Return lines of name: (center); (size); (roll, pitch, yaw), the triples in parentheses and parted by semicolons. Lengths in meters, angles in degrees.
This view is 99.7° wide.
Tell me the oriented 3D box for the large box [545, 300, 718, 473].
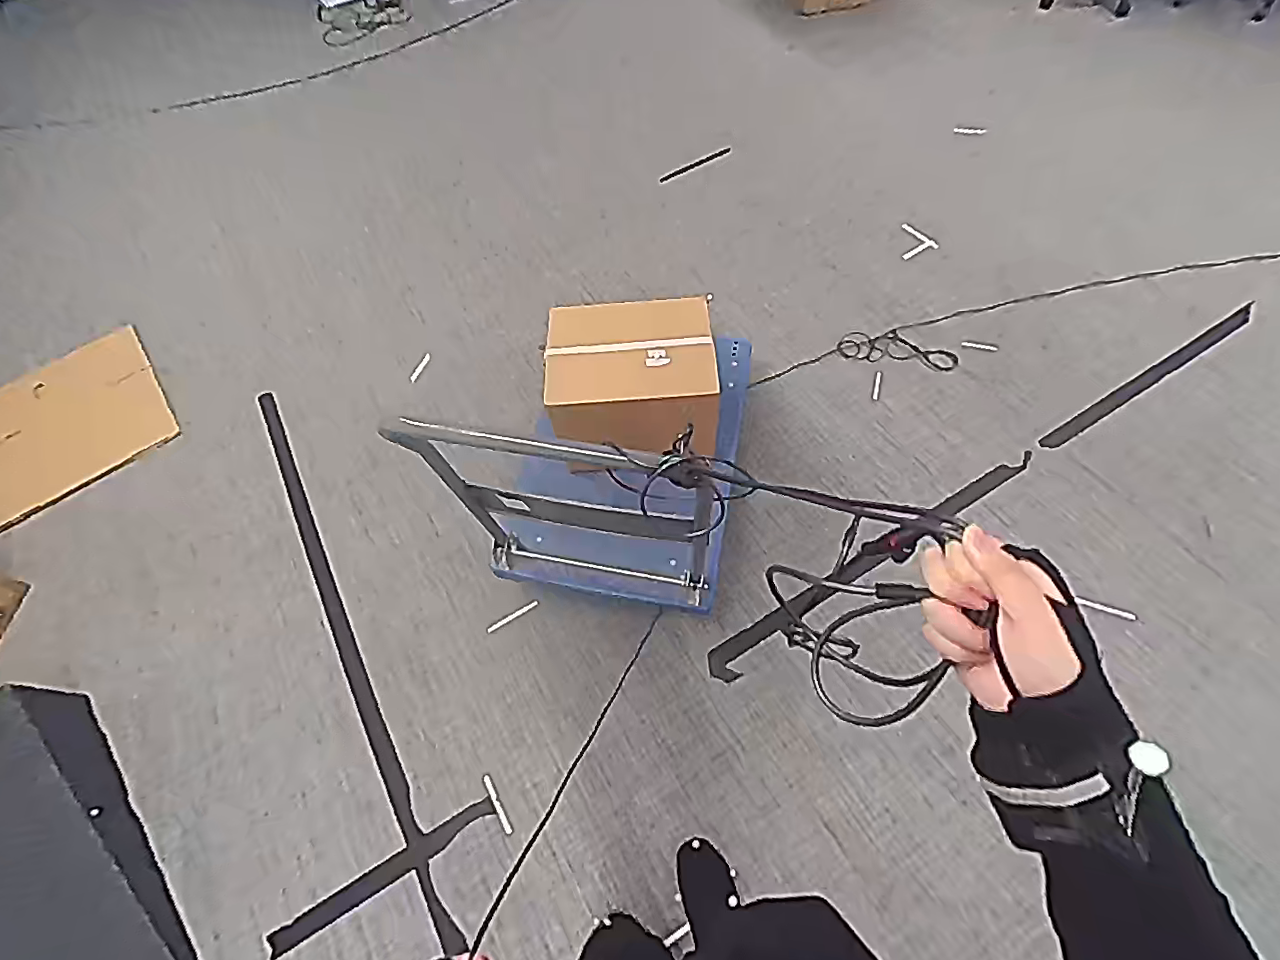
large box: (-0.022, -0.235, 1.425); (0.408, 0.320, 0.320); (-4, 61, 2)
